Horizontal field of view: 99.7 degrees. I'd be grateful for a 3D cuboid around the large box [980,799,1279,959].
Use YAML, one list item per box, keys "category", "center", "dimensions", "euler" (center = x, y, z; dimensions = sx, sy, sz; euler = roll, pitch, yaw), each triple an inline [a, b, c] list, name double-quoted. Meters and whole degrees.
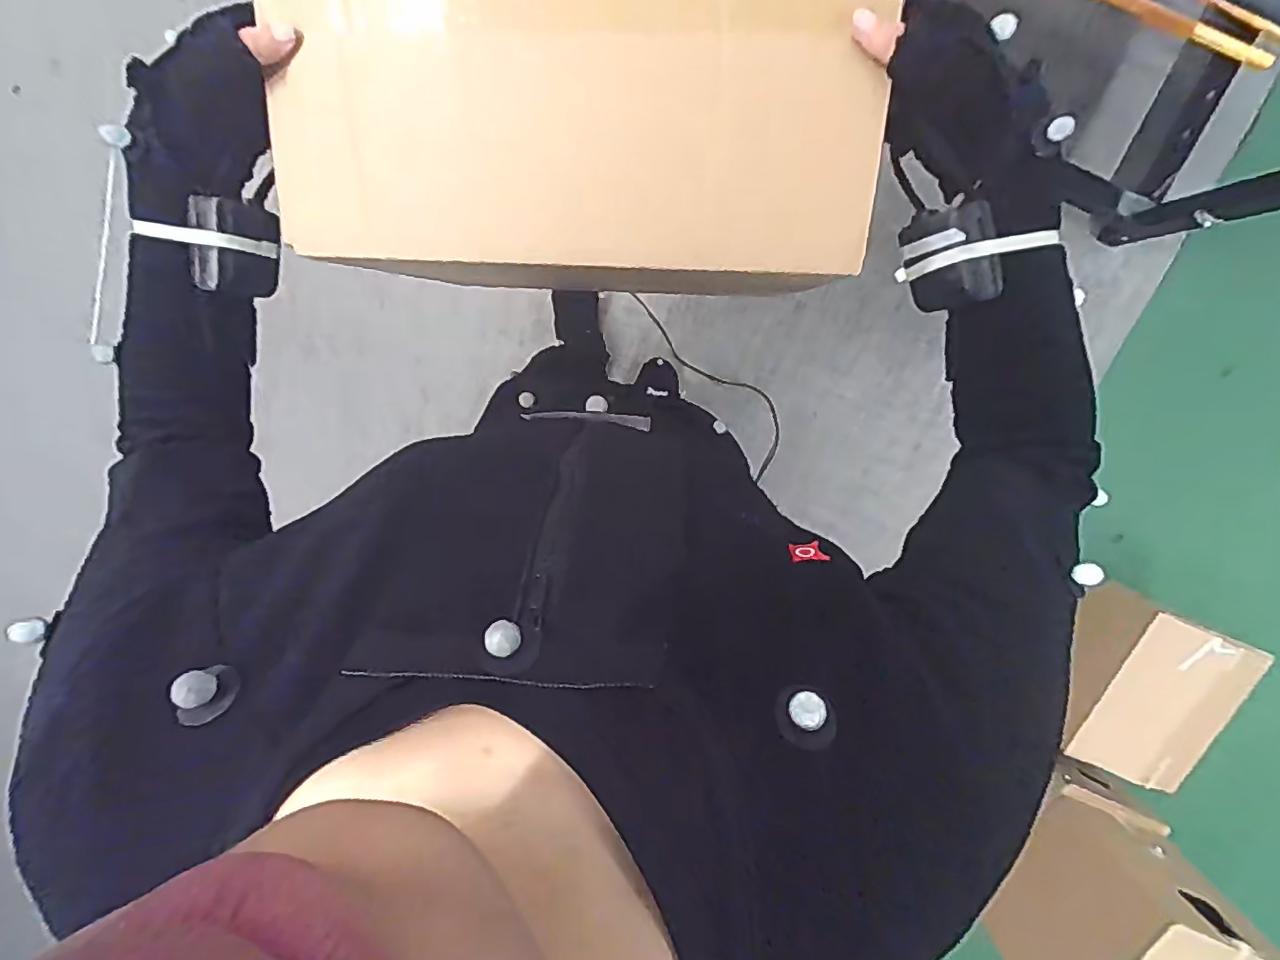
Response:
- category: "large box"
  center: [1.090, 1.039, 1.231]
  dimensions: [0.320, 0.320, 0.408]
  euler: [24, 104, -3]
